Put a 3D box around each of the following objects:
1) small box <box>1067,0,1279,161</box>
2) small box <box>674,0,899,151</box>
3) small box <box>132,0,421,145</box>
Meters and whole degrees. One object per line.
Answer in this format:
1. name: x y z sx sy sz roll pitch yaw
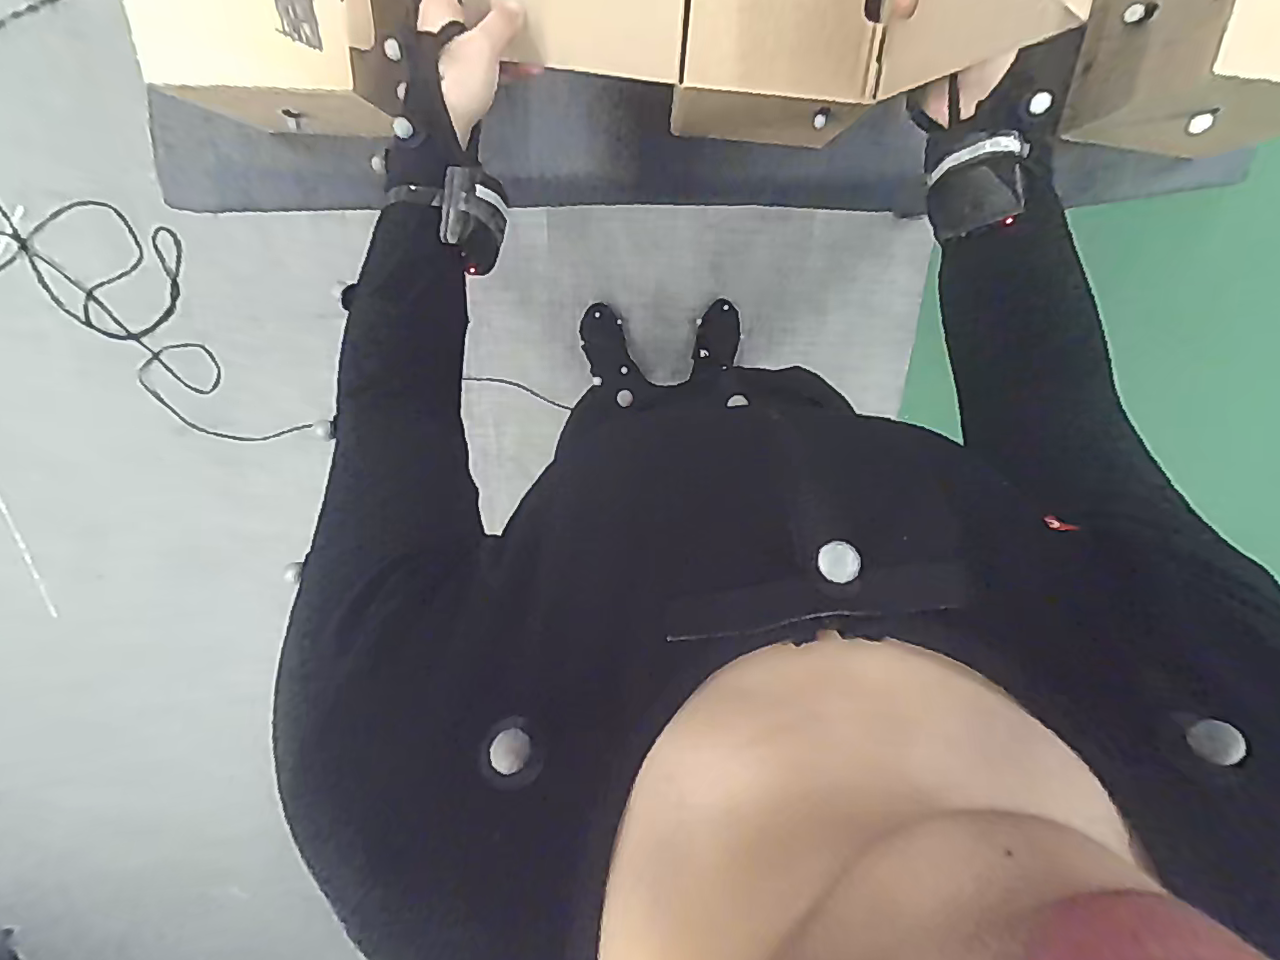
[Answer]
1. small box: 0.559 -0.418 0.504 0.179 0.176 0.168 6 106 -2
2. small box: 0.125 -0.421 0.505 0.179 0.176 0.168 4 111 0
3. small box: -0.317 -0.422 0.499 0.179 0.176 0.168 1 111 -1
